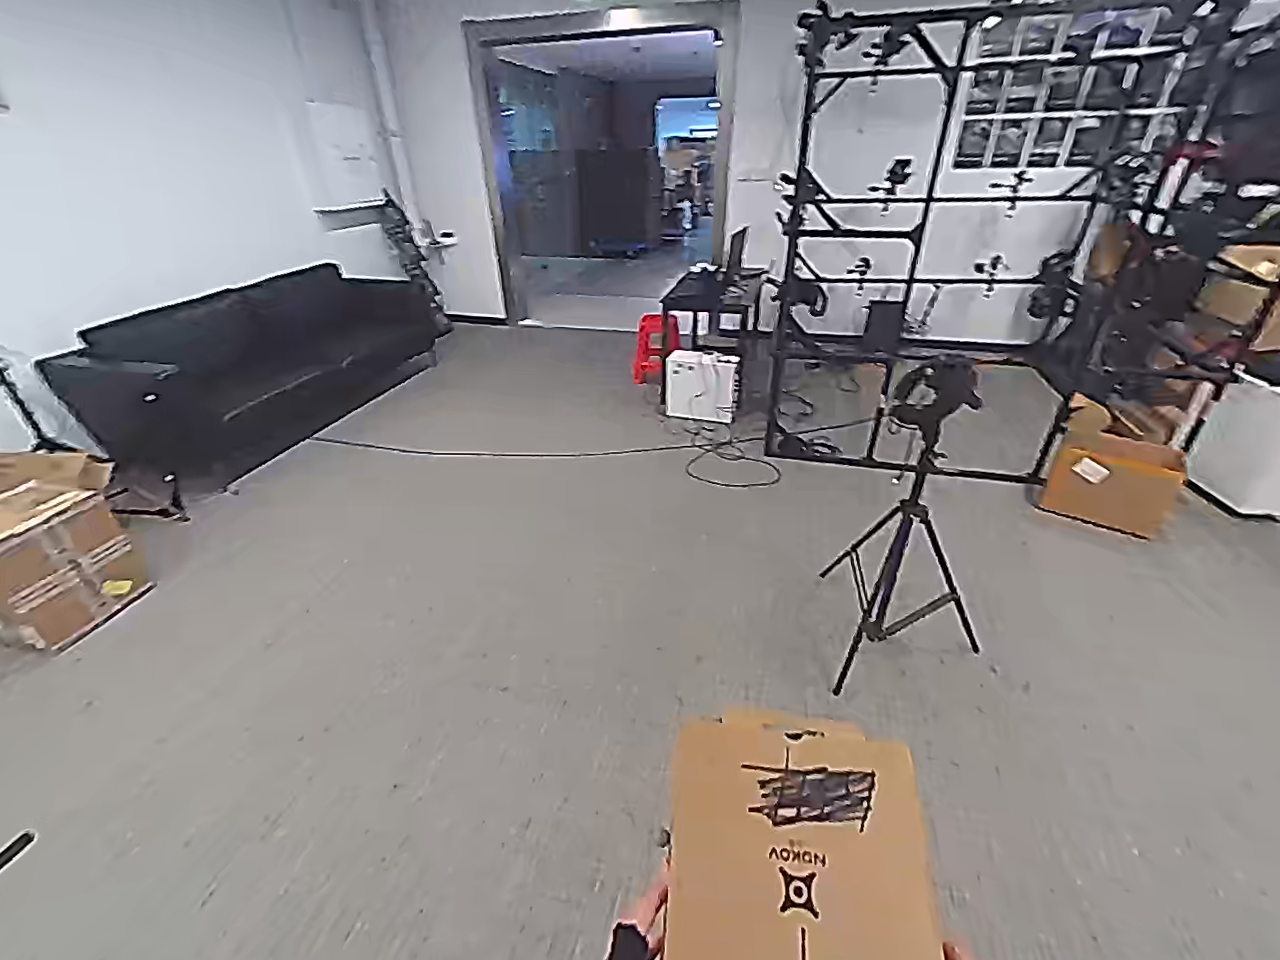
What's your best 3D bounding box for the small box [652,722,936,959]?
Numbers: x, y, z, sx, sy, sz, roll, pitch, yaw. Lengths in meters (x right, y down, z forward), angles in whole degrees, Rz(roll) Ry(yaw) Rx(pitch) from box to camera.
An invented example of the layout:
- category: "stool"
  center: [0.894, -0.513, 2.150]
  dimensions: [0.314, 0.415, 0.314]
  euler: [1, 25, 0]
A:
- category: "small box"
  center: [0.098, 0.305, 0.408]
  dimensions: [0.168, 0.176, 0.179]
  euler: [5, 53, 4]
